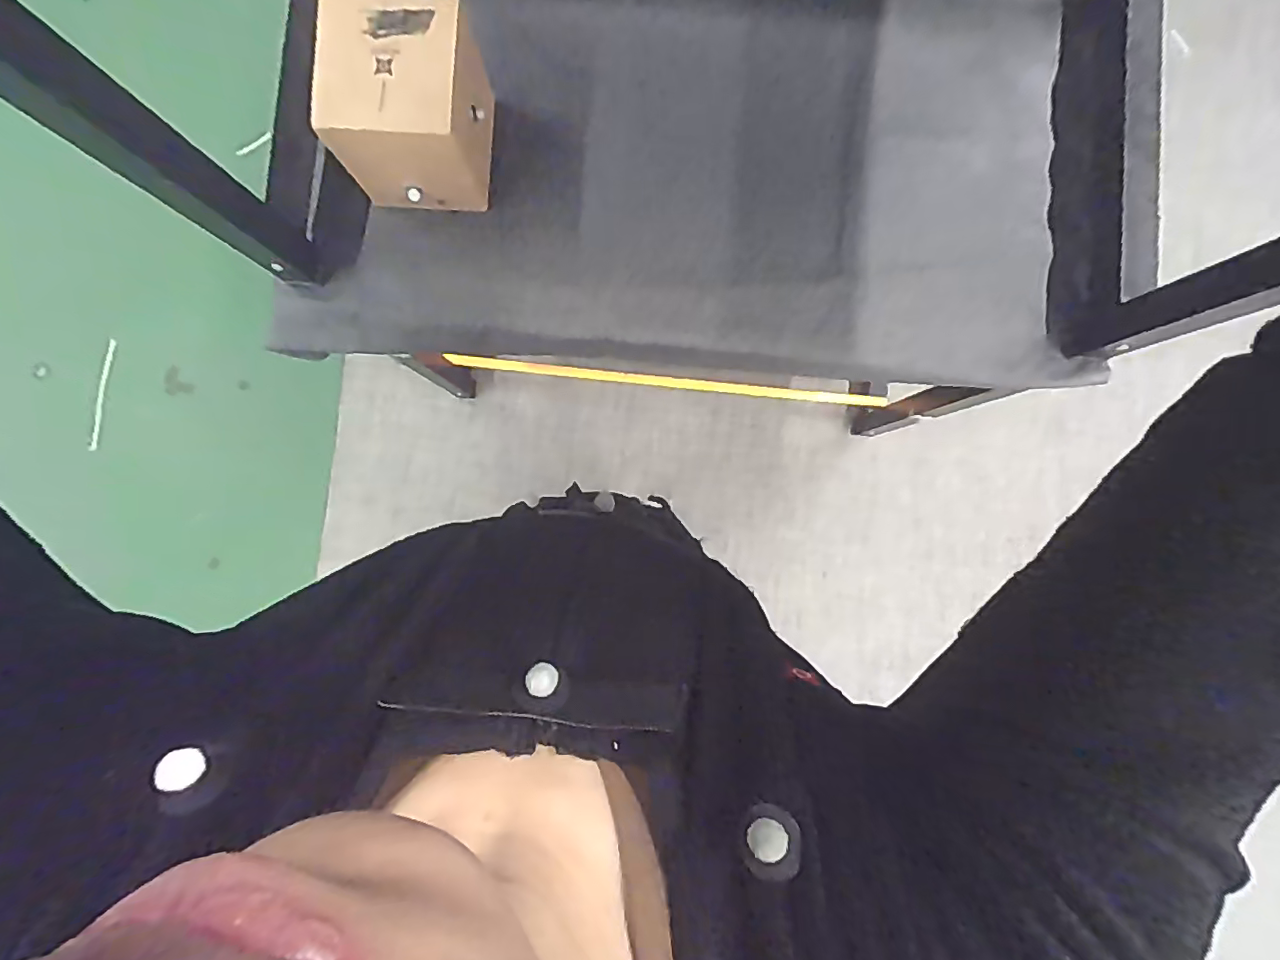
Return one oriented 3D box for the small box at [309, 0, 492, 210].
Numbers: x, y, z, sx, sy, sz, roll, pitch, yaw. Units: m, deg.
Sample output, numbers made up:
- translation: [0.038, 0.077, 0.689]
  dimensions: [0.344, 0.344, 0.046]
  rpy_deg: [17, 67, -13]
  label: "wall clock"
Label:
- translation: [-0.298, -0.489, 0.711]
  dimensions: [0.168, 0.176, 0.179]
  rpy_deg: [3, 87, 0]
  label: "small box"
